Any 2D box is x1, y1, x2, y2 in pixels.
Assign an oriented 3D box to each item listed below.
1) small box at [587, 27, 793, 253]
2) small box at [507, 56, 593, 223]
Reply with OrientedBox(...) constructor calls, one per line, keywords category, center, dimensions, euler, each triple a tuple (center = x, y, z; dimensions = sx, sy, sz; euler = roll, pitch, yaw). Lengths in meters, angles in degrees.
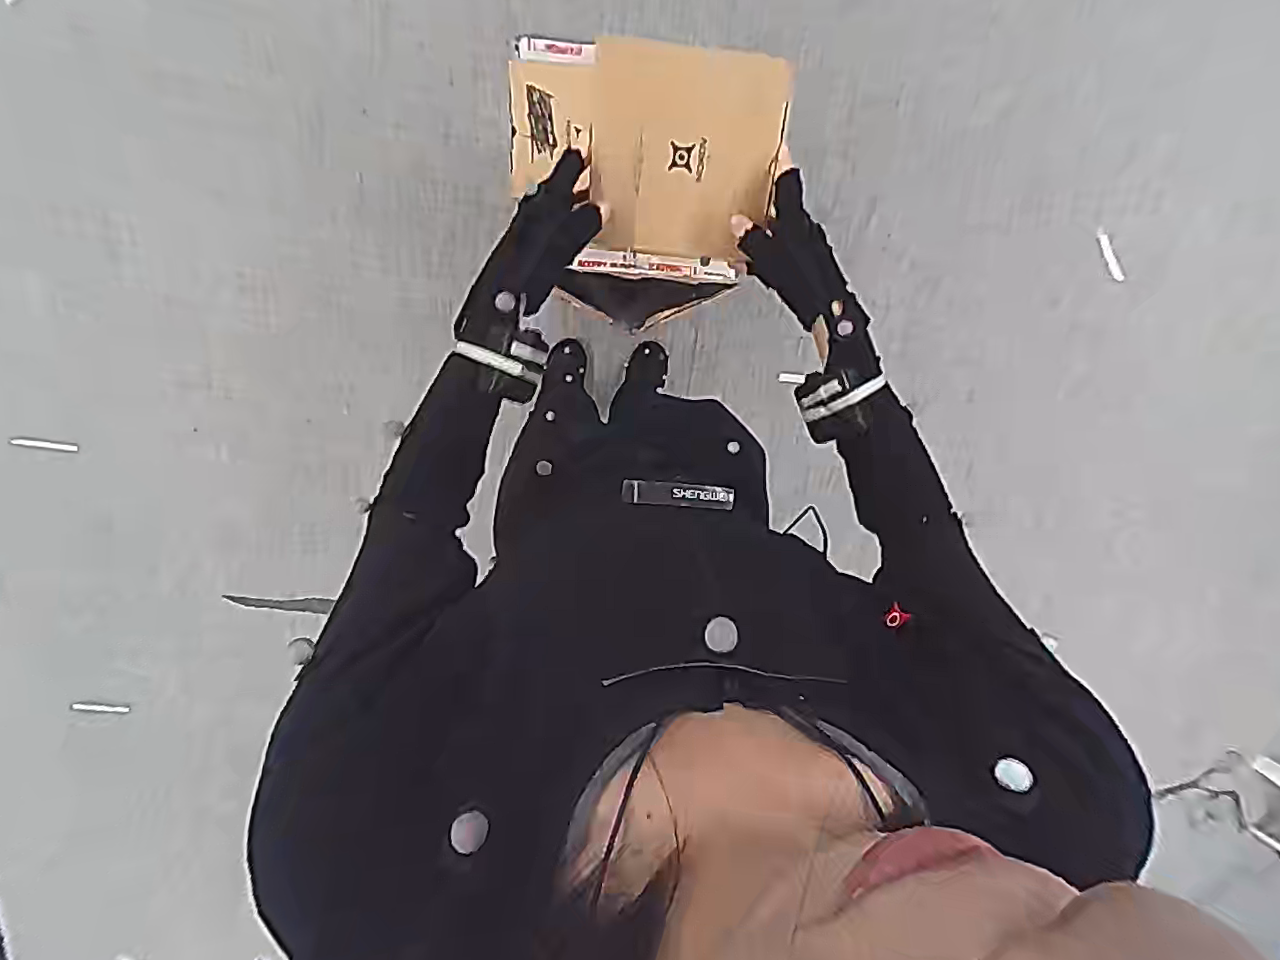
OrientedBox(category="small box", center=(0.038, -0.339, 0.566), dimensions=(0.179, 0.176, 0.168), euler=(3, 116, -3))
OrientedBox(category="small box", center=(-0.089, -0.479, 0.789), dimensions=(0.179, 0.176, 0.168), euler=(1, 105, -4))
